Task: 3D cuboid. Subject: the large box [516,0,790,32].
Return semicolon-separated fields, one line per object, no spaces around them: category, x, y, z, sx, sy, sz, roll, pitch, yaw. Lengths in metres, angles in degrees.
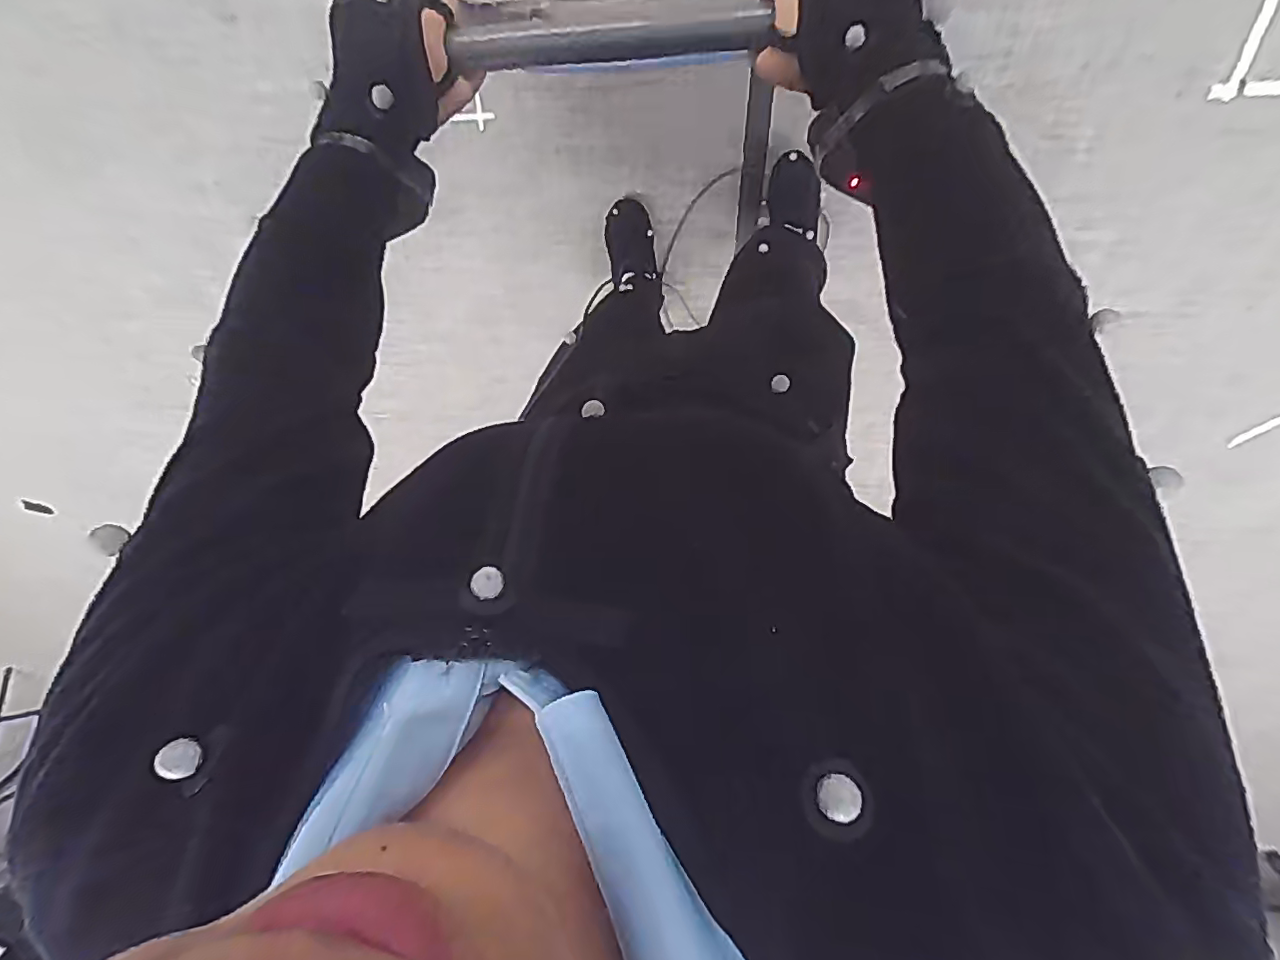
large box;0.031;-0.836;0.720;0.408;0.320;0.320;0;125;7
